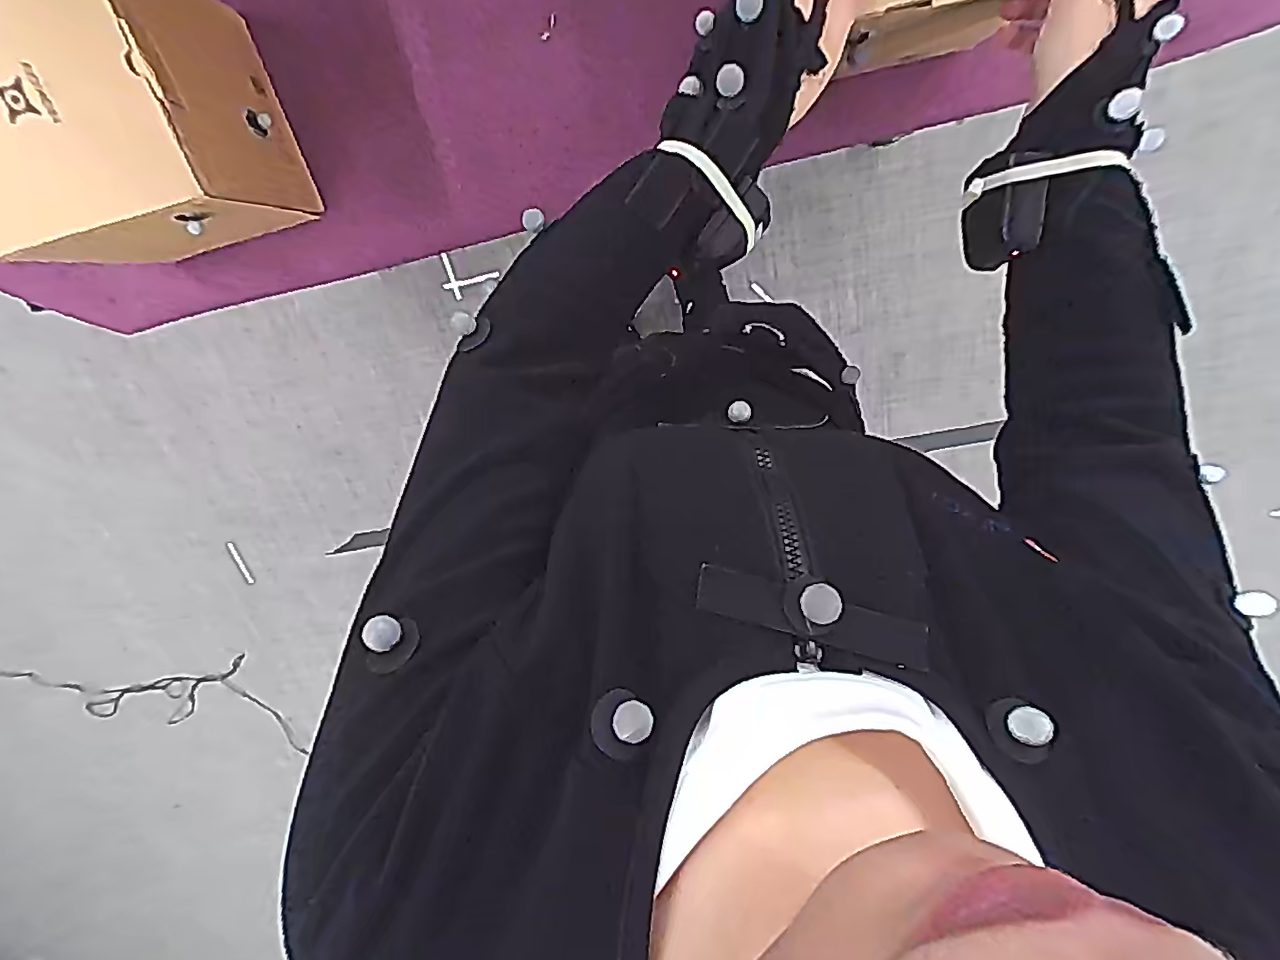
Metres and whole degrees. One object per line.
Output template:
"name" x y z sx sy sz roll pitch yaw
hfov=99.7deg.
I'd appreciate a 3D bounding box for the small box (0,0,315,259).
"small box" -0.418 -0.286 0.441 0.179 0.176 0.168 -15 112 3
